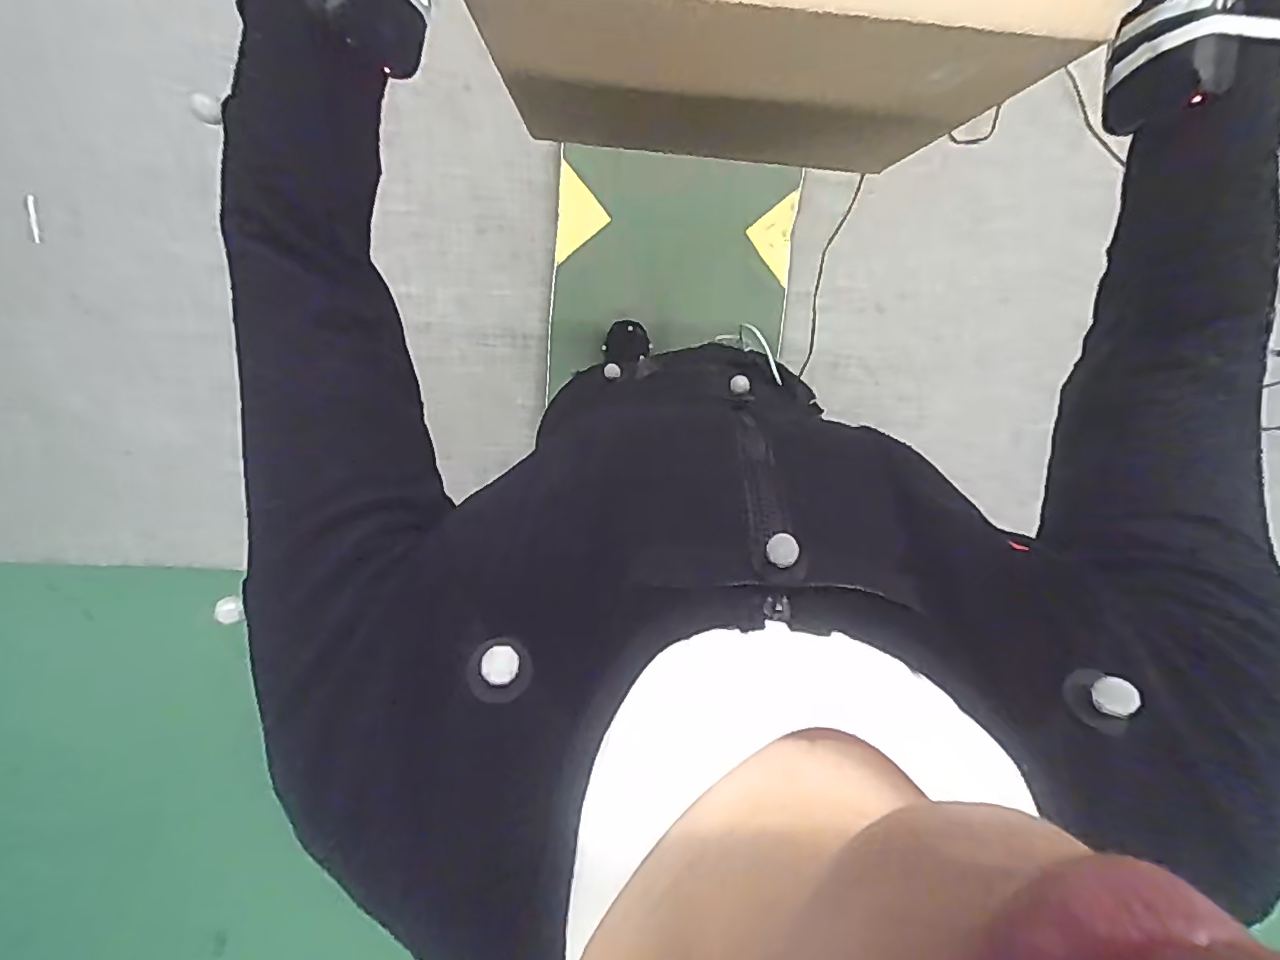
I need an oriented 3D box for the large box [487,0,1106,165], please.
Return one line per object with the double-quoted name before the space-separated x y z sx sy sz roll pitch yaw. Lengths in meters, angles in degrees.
"large box" 0.096 -0.479 0.436 0.408 0.320 0.320 3 107 -4
